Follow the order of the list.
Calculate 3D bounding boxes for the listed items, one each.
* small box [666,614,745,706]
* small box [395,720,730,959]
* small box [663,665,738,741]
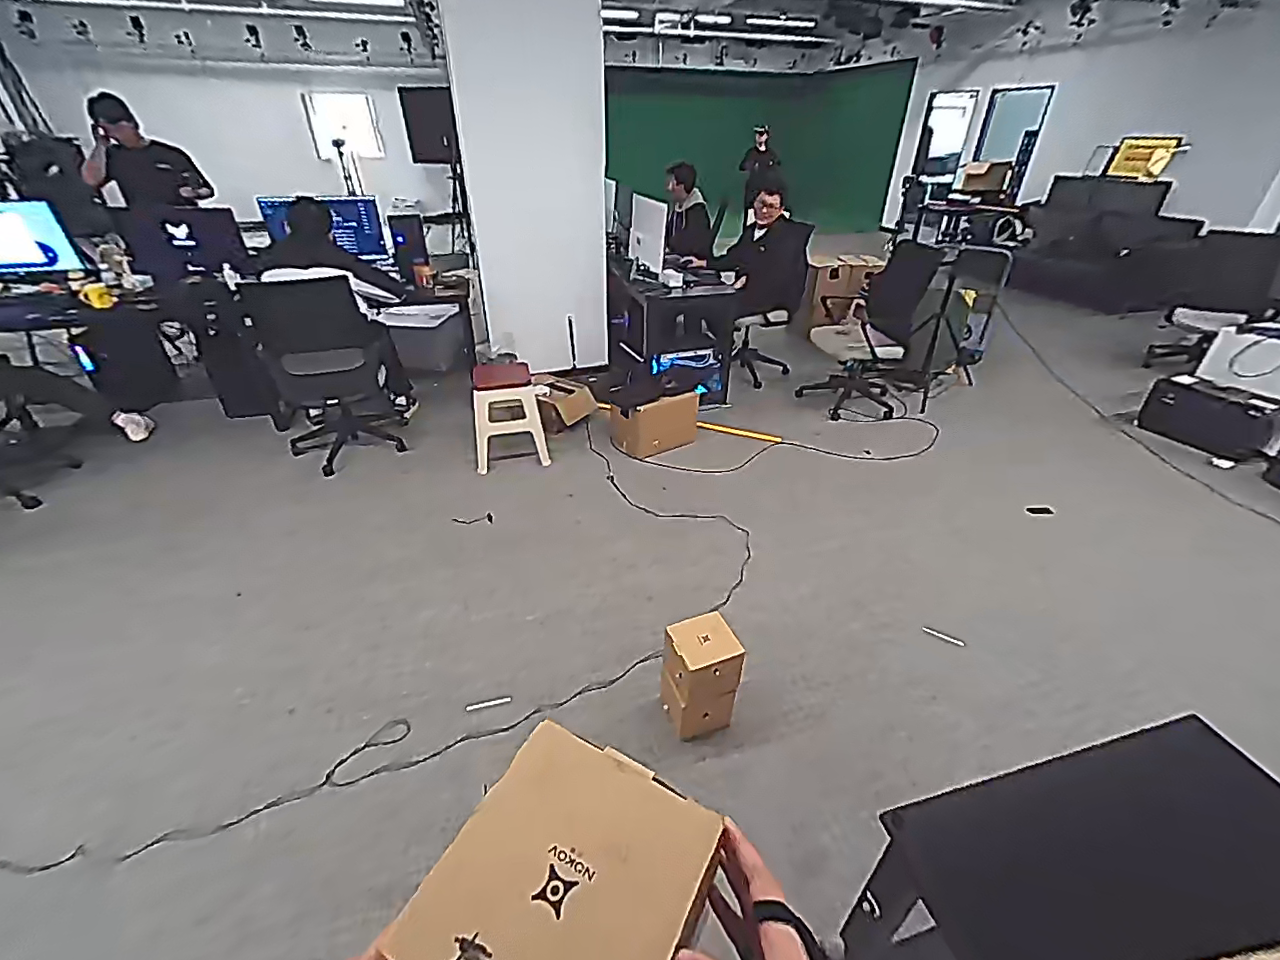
[{"bbox_3d":[0.185,0.528,1.579,0.179,0.176,0.168,-11,35,-20],"label":"small box"},{"bbox_3d":[-0.044,0.333,0.412,0.168,0.176,0.179,16,38,25],"label":"small box"},{"bbox_3d":[0.179,0.667,1.664,0.179,0.176,0.168,-11,34,-16],"label":"small box"}]
